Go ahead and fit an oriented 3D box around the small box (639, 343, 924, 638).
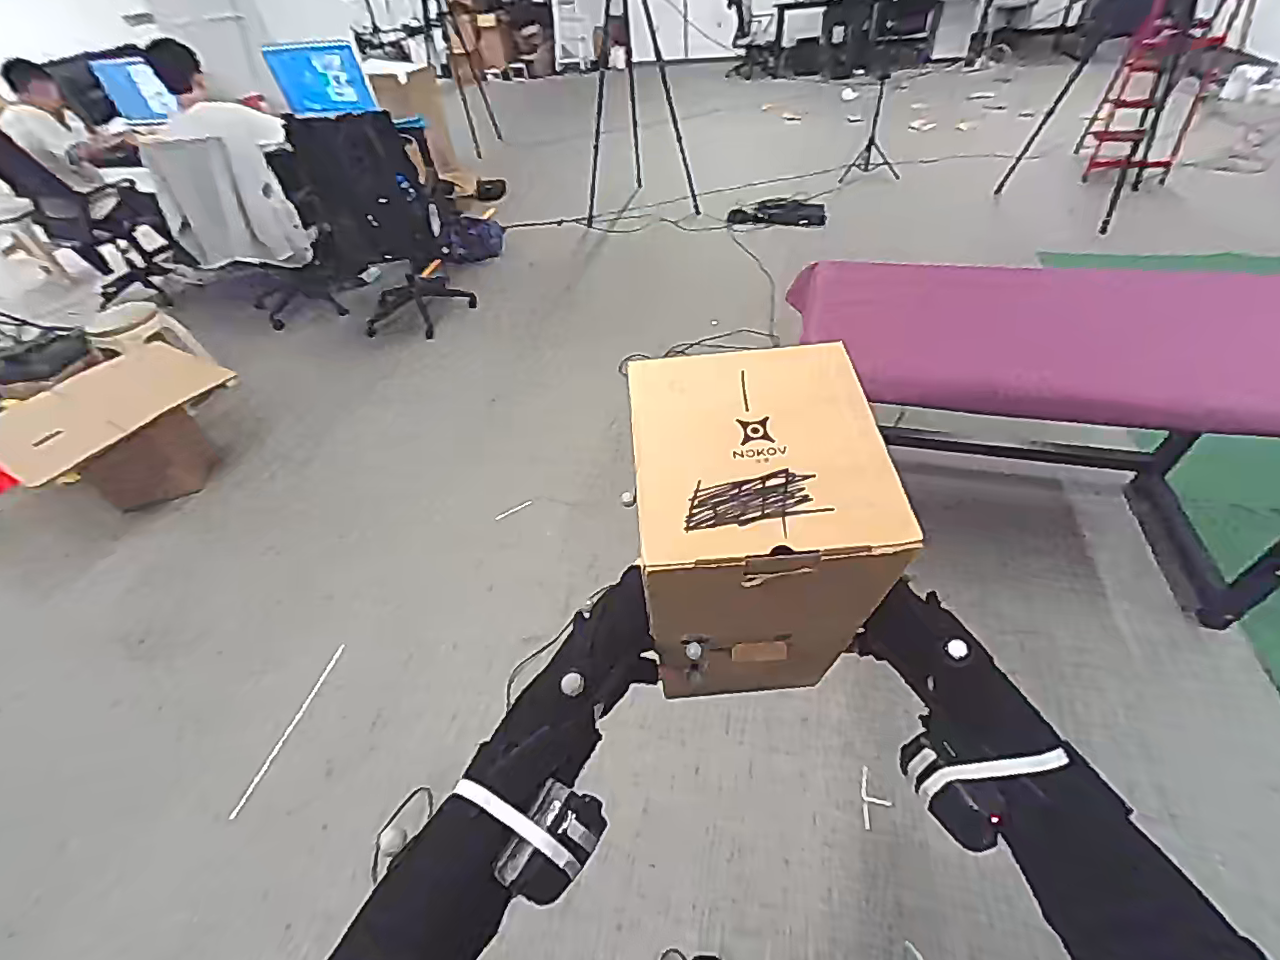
[{"bbox_3d":[0.086,0.017,0.422,0.168,0.176,0.179,-1,56,1],"label":"small box"}]
